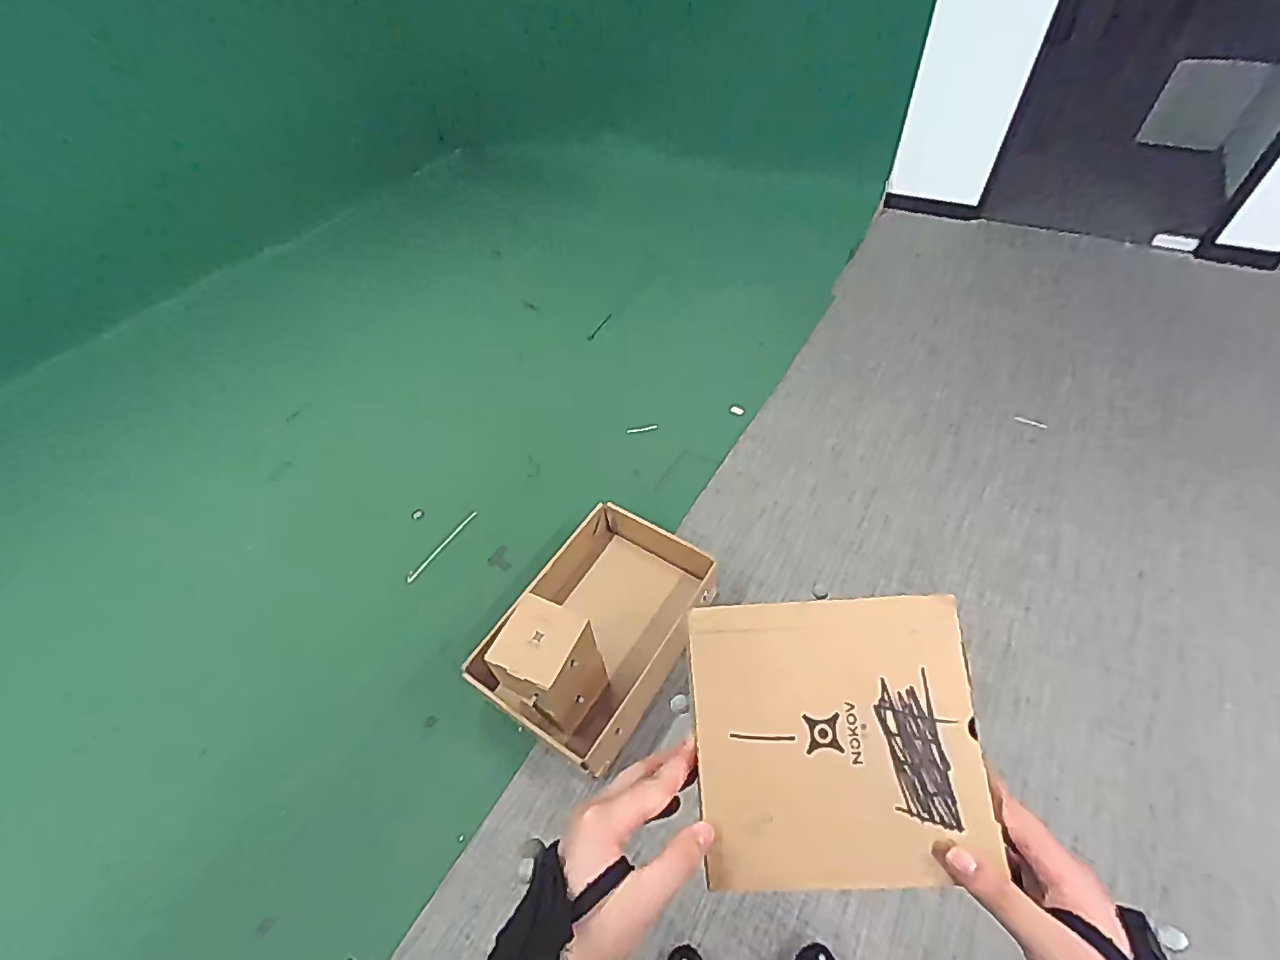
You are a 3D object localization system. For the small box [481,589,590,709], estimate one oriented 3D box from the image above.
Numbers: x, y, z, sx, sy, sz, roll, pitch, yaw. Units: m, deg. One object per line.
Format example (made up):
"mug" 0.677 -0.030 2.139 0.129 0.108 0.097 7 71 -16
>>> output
"small box" -0.223 0.385 1.221 0.168 0.176 0.179 19 53 16

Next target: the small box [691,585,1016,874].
"small box" 0.134 0.170 0.413 0.179 0.176 0.168 -4 74 3

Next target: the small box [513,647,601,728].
"small box" -0.212 0.485 1.351 0.168 0.176 0.179 27 58 23
